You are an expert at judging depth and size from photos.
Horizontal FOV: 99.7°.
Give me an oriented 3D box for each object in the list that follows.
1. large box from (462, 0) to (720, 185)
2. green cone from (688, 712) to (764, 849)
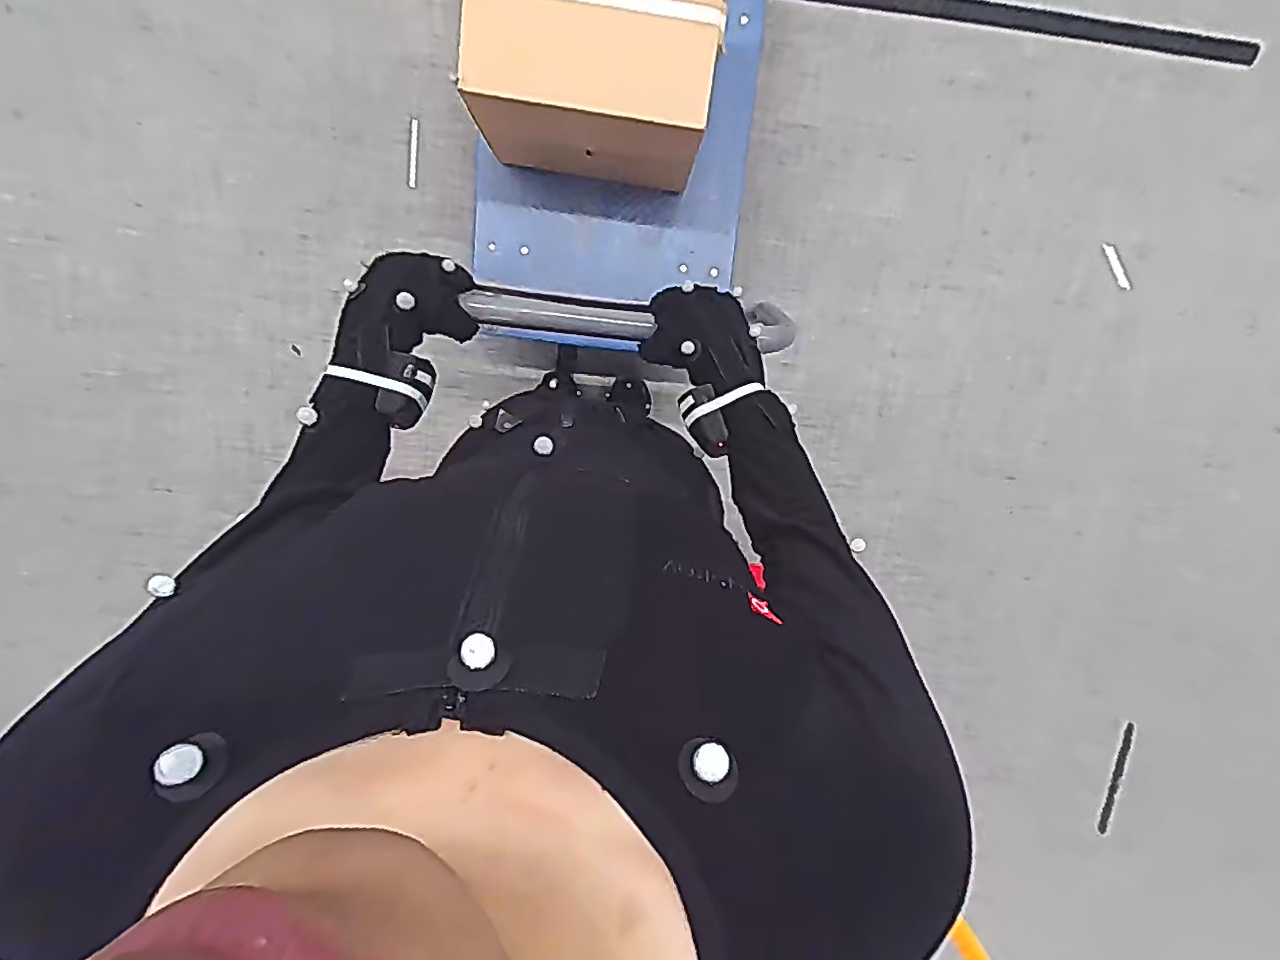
[{"bbox_3d":[-0.075,-0.776,0.996,0.408,0.320,0.320,7,101,-2],"label":"large box"},{"bbox_3d":[0.261,0.827,1.456,0.202,0.368,0.200,10,100,-4],"label":"green cone"}]
